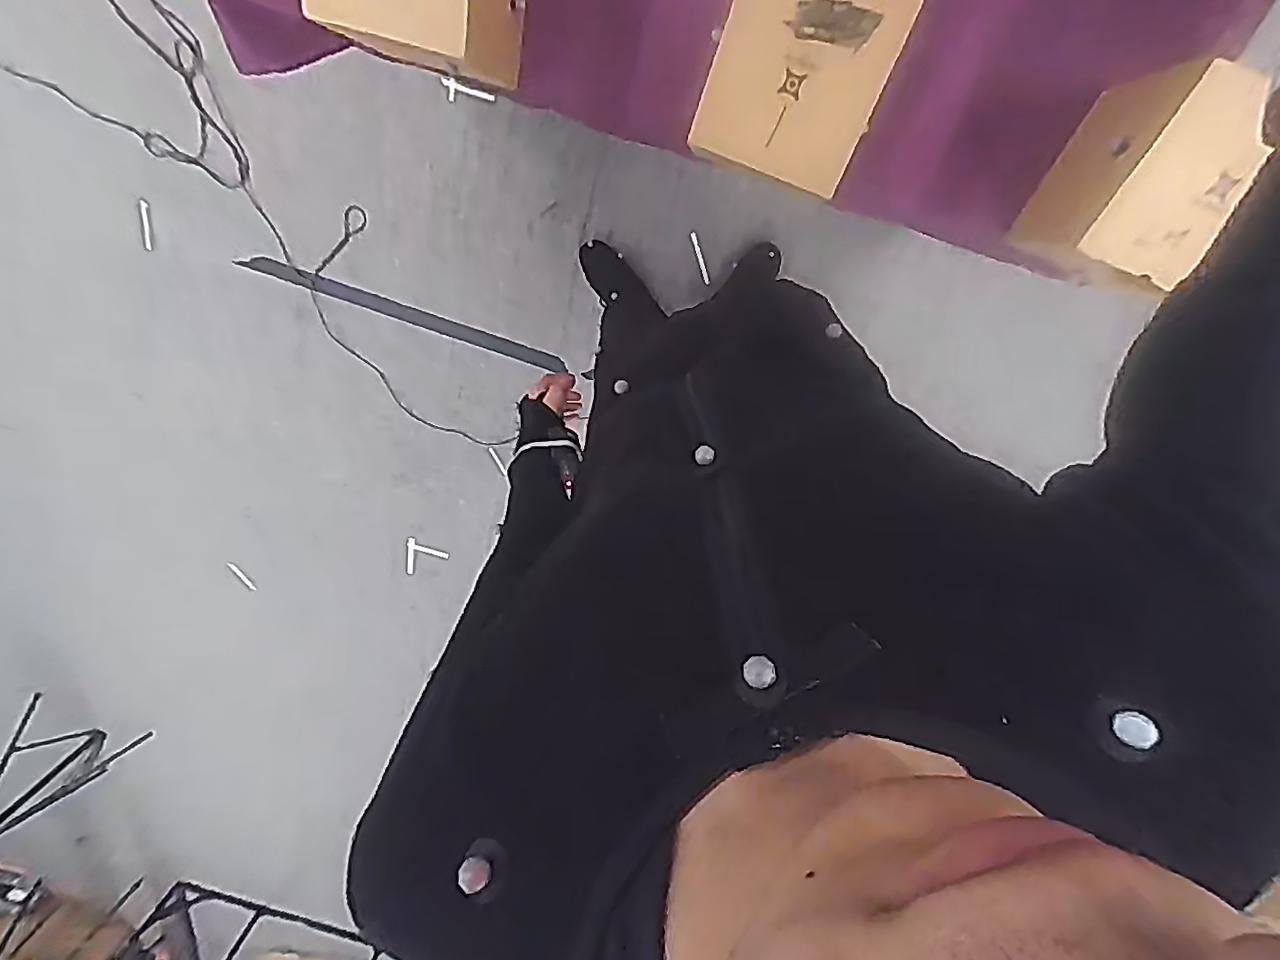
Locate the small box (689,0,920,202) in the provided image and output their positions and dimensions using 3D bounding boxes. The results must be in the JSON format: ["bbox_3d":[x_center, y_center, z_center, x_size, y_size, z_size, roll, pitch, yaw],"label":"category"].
[{"bbox_3d":[0.163,-0.429,0.597,0.168,0.176,0.179,21,119,-2],"label":"small box"}]

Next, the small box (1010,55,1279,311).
[{"bbox_3d":[0.562,-0.313,0.595,0.168,0.176,0.179,24,117,-3],"label":"small box"}]
